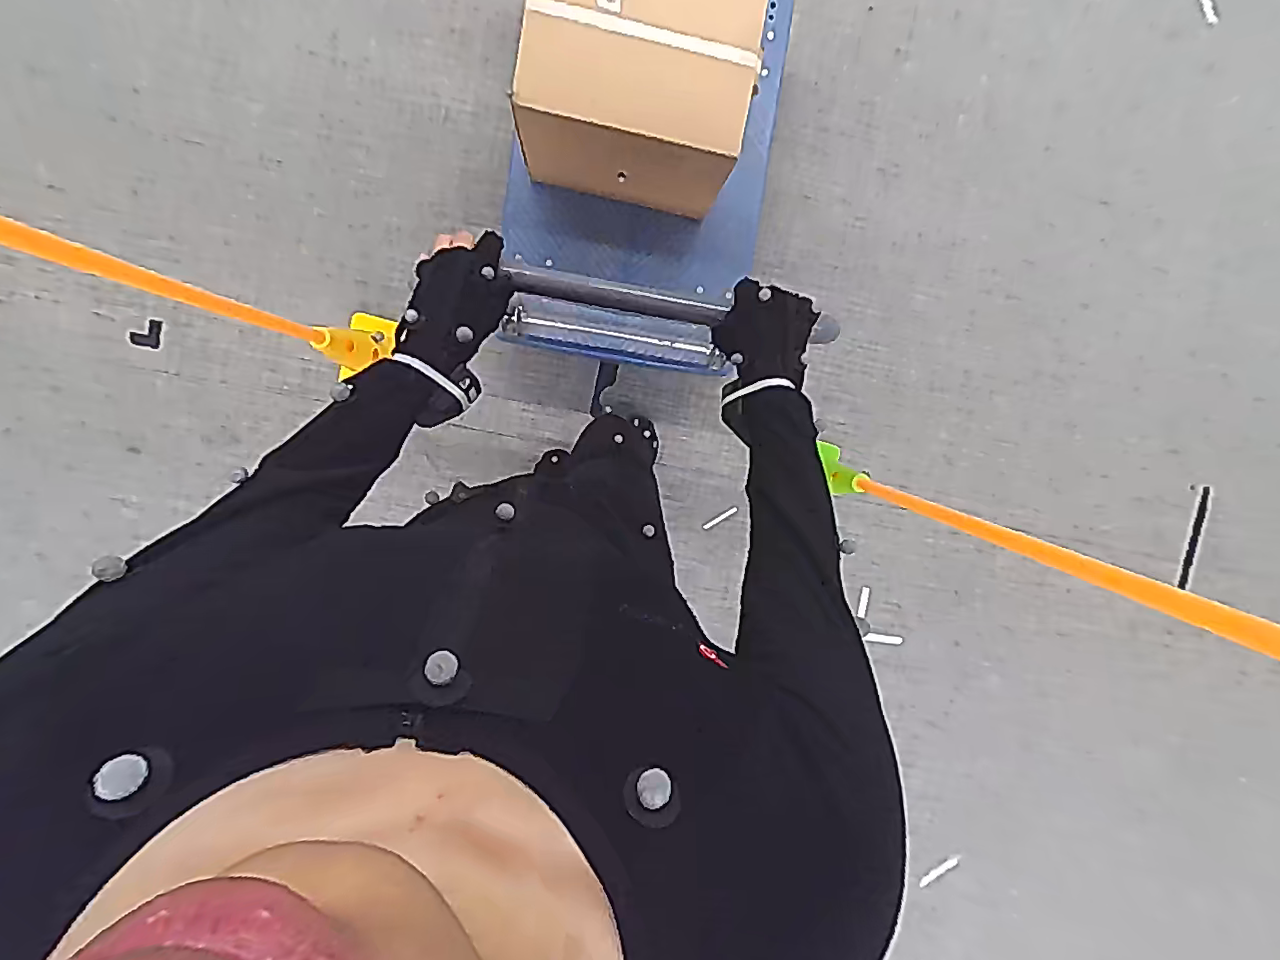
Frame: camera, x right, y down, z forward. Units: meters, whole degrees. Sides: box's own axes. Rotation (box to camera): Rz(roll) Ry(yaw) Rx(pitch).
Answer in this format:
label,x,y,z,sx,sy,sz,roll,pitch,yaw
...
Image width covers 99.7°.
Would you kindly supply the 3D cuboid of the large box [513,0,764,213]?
label,x,y,z,sx,sy,sz,roll,pitch,yaw
large box,-0.008,-0.774,1.076,0.408,0.320,0.320,10,96,-5
